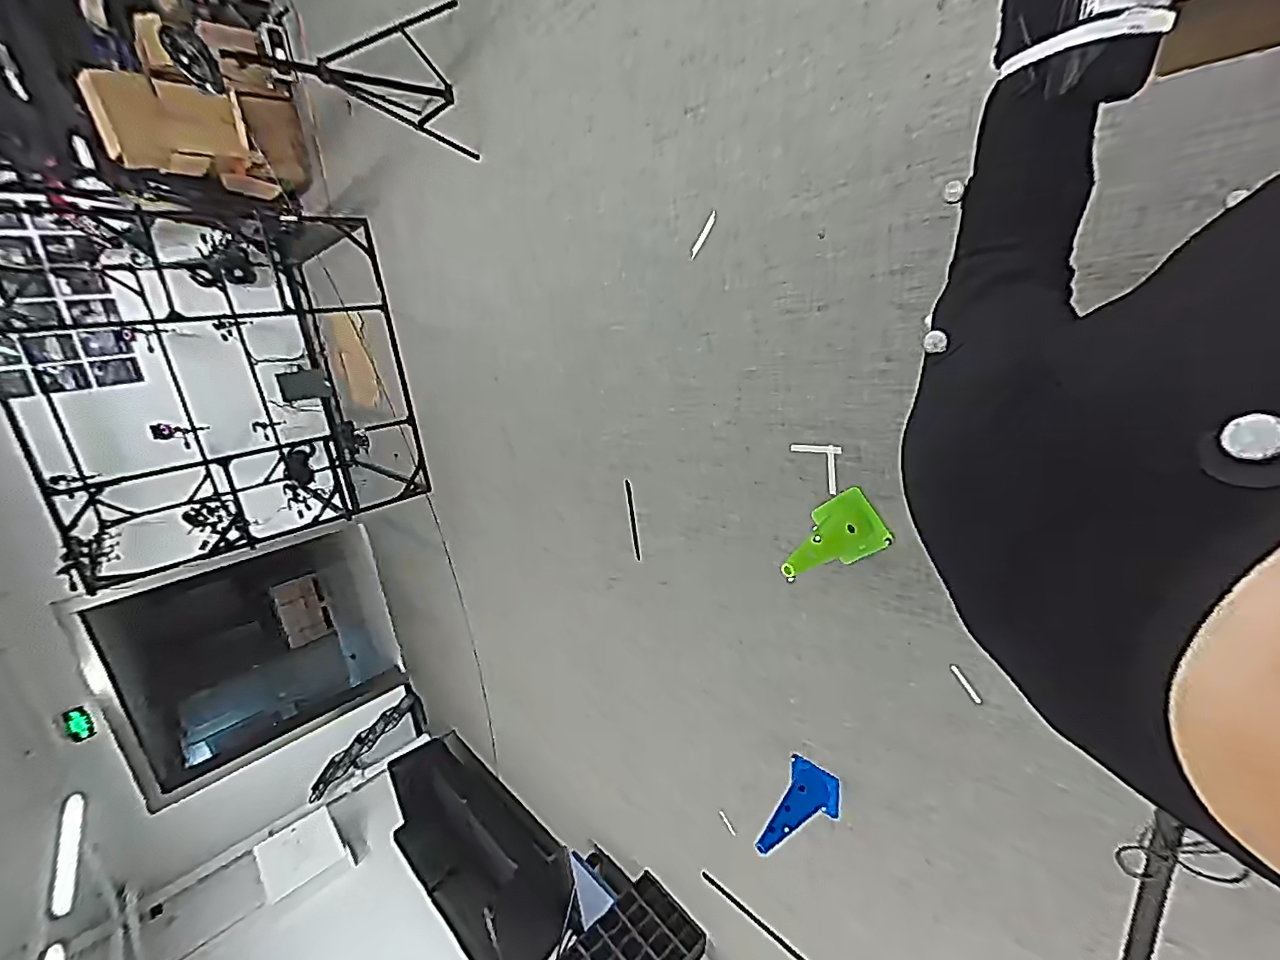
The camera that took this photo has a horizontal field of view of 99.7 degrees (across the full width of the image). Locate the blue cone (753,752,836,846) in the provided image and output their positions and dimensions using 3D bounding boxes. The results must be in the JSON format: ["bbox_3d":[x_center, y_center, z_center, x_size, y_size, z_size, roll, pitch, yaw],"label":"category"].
[{"bbox_3d":[0.557,1.225,2.012,0.192,0.380,0.193,16,118,46],"label":"blue cone"}]

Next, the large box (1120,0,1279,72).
[{"bbox_3d":[0.526,-0.470,0.260,0.408,0.320,0.320,11,119,43],"label":"large box"}]

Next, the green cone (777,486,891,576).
[{"bbox_3d":[0.522,0.185,1.566,0.200,0.368,0.202,60,142,13],"label":"green cone"}]
